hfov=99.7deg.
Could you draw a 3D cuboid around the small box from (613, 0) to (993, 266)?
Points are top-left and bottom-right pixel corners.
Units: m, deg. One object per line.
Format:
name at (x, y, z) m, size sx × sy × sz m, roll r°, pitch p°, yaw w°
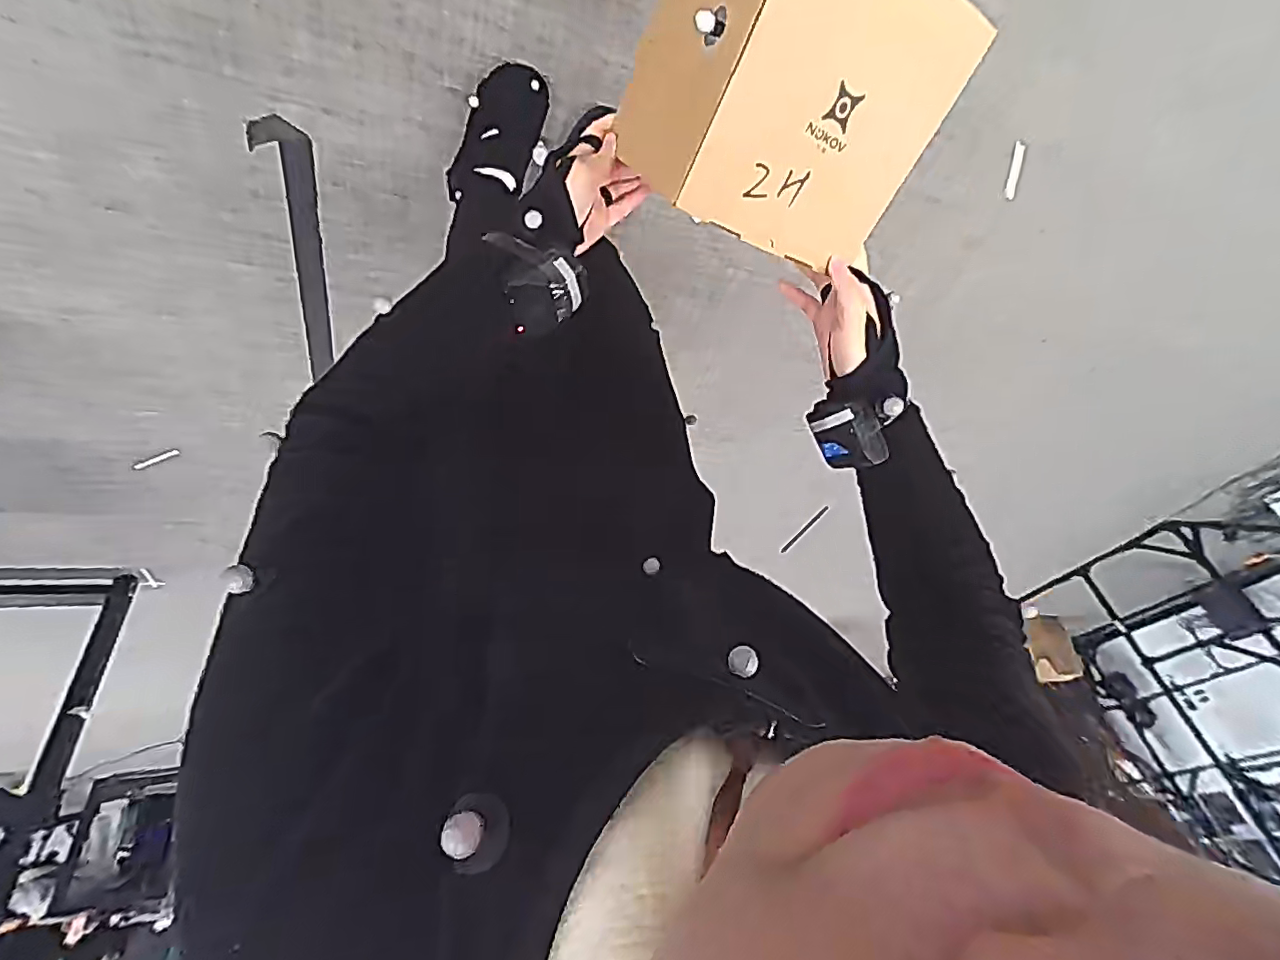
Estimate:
small box at (0.097, -0.297, 0.402) m, size 0.168 × 0.176 × 0.179 m, roll 8°, pitch 128°, yaw -30°
